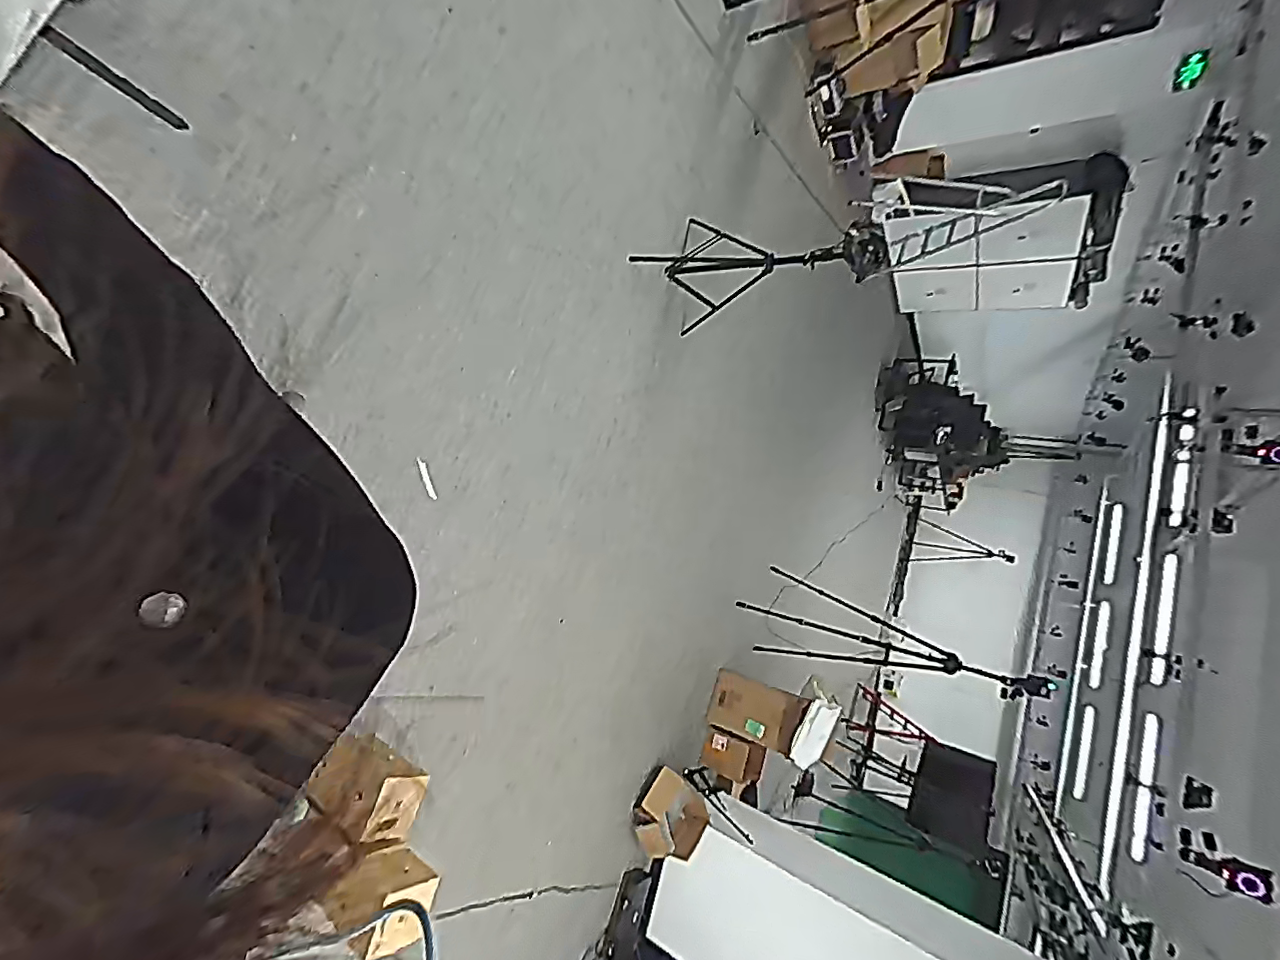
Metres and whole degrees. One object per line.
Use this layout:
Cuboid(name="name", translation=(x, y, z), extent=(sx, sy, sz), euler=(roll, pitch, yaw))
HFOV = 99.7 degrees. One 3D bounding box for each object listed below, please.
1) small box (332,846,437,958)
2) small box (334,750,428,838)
Cuboid(name="small box", translation=(-0.710, 1.158, 1.504), extent=(0.179, 0.176, 0.168), euler=(31, 72, -55))
Cuboid(name="small box", translation=(-0.784, 0.940, 1.630), extent=(0.168, 0.176, 0.179), euler=(40, 64, -52))
